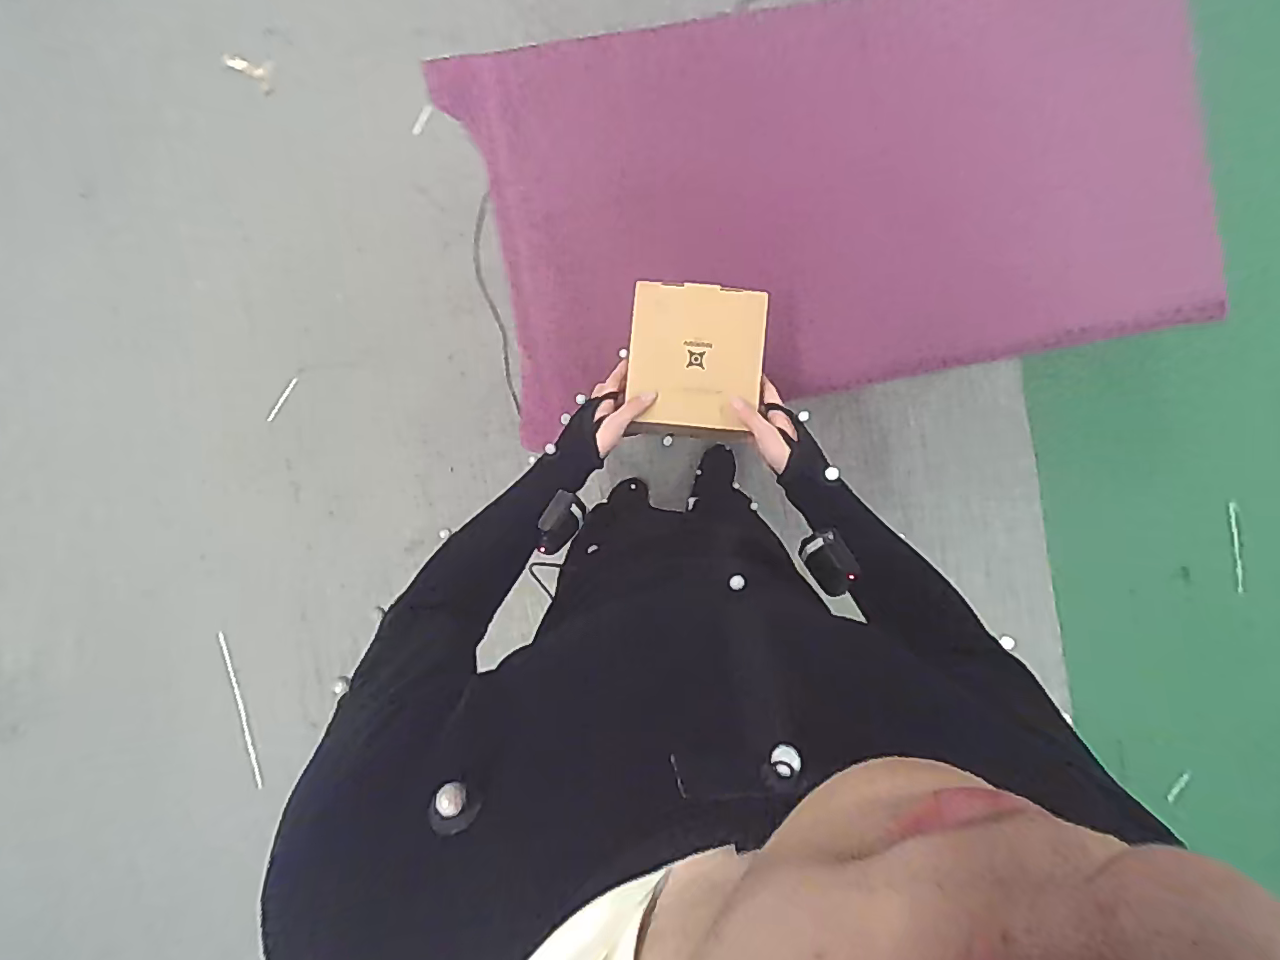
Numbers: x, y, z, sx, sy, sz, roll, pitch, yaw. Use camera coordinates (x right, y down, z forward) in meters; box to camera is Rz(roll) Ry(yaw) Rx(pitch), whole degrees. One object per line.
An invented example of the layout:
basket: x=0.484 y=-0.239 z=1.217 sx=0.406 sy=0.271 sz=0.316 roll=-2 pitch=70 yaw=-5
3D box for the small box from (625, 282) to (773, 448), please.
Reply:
small box: x=0.072 y=-0.145 z=0.739 sx=0.168 sy=0.176 sz=0.179 roll=7 pitch=89 yaw=1
